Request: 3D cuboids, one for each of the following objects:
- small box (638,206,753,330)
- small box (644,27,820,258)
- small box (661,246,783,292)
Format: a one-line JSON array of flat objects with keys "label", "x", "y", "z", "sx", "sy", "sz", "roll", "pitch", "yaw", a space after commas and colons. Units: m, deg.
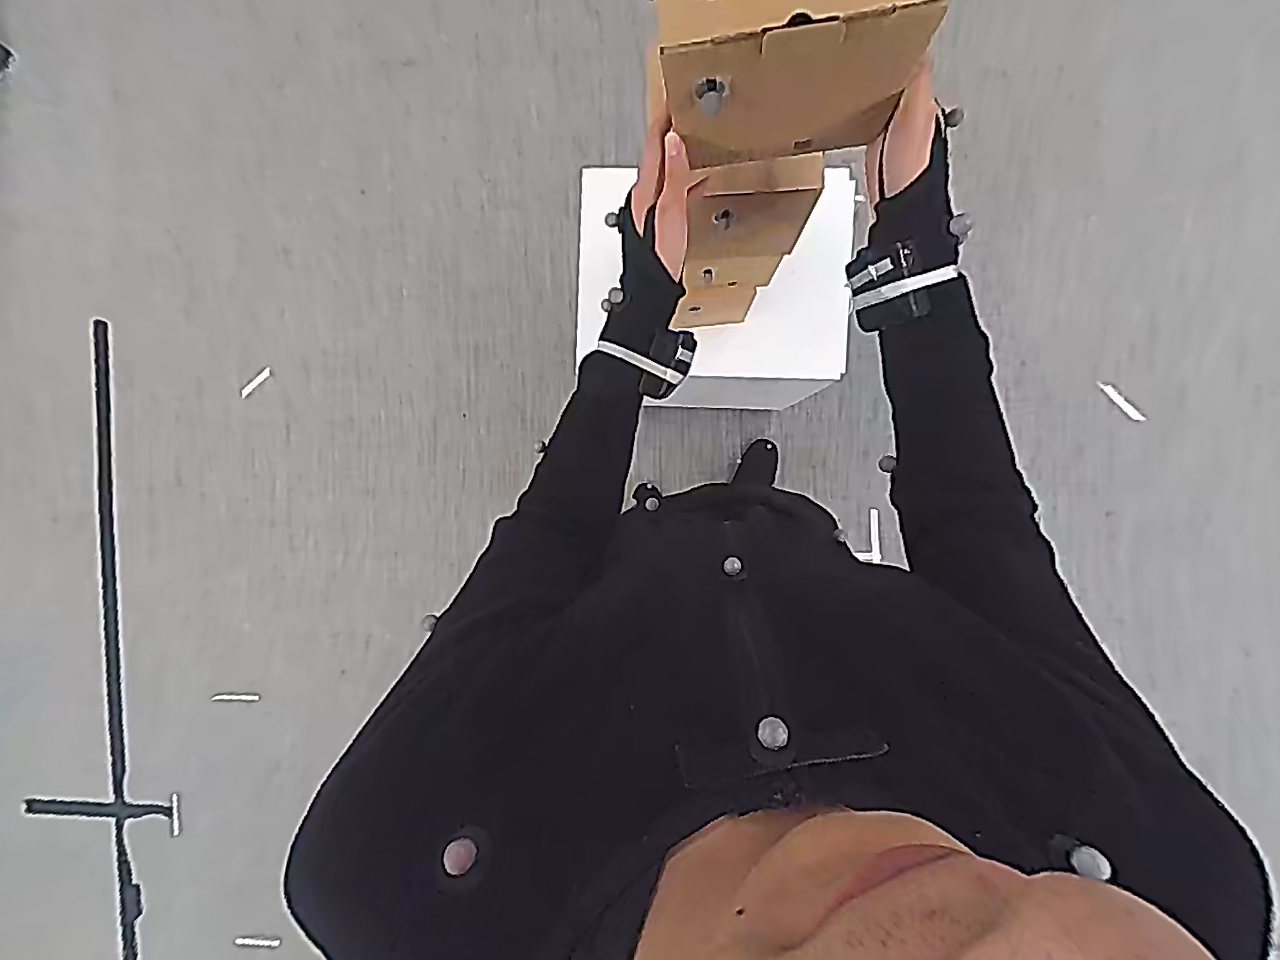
[{"label": "small box", "x": 0.095, "y": -0.373, "z": 0.956, "sx": 0.179, "sy": 0.176, "sz": 0.168, "roll": -6, "pitch": 91, "yaw": 3}, {"label": "small box", "x": 0.098, "y": -0.371, "z": 0.628, "sx": 0.179, "sy": 0.176, "sz": 0.168, "roll": -2, "pitch": 91, "yaw": 3}, {"label": "small box", "x": 0.110, "y": -0.387, "z": 0.793, "sx": 0.168, "sy": 0.176, "sz": 0.179, "roll": -5, "pitch": 90, "yaw": 3}]
